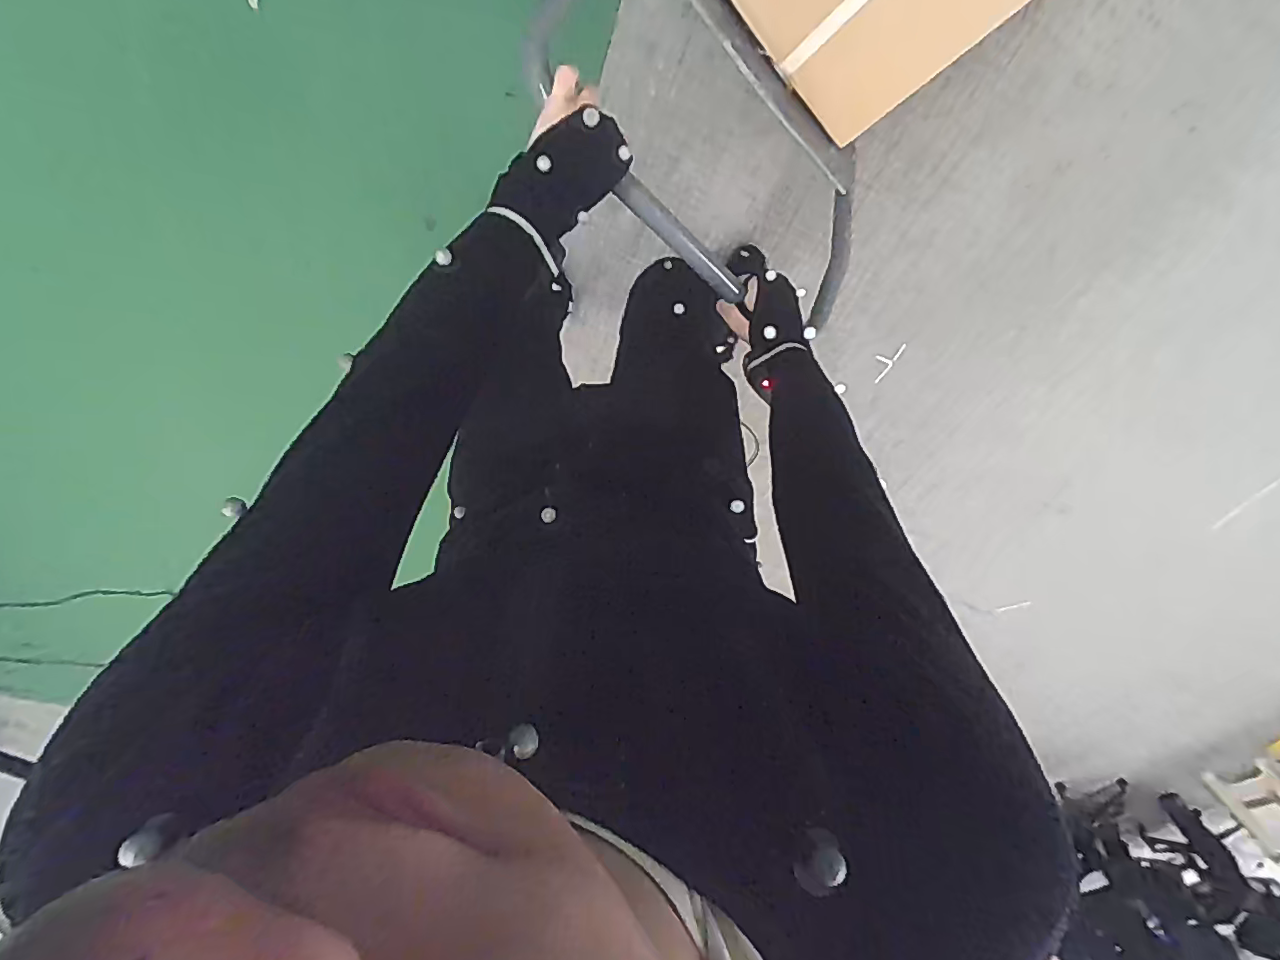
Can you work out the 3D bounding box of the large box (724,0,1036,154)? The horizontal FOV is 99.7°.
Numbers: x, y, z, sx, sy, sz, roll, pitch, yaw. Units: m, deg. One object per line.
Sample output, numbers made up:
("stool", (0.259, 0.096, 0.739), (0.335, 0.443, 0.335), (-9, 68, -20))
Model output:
("large box", (0.365, -0.783, 0.752), (0.320, 0.320, 0.408), (33, 143, -30))
